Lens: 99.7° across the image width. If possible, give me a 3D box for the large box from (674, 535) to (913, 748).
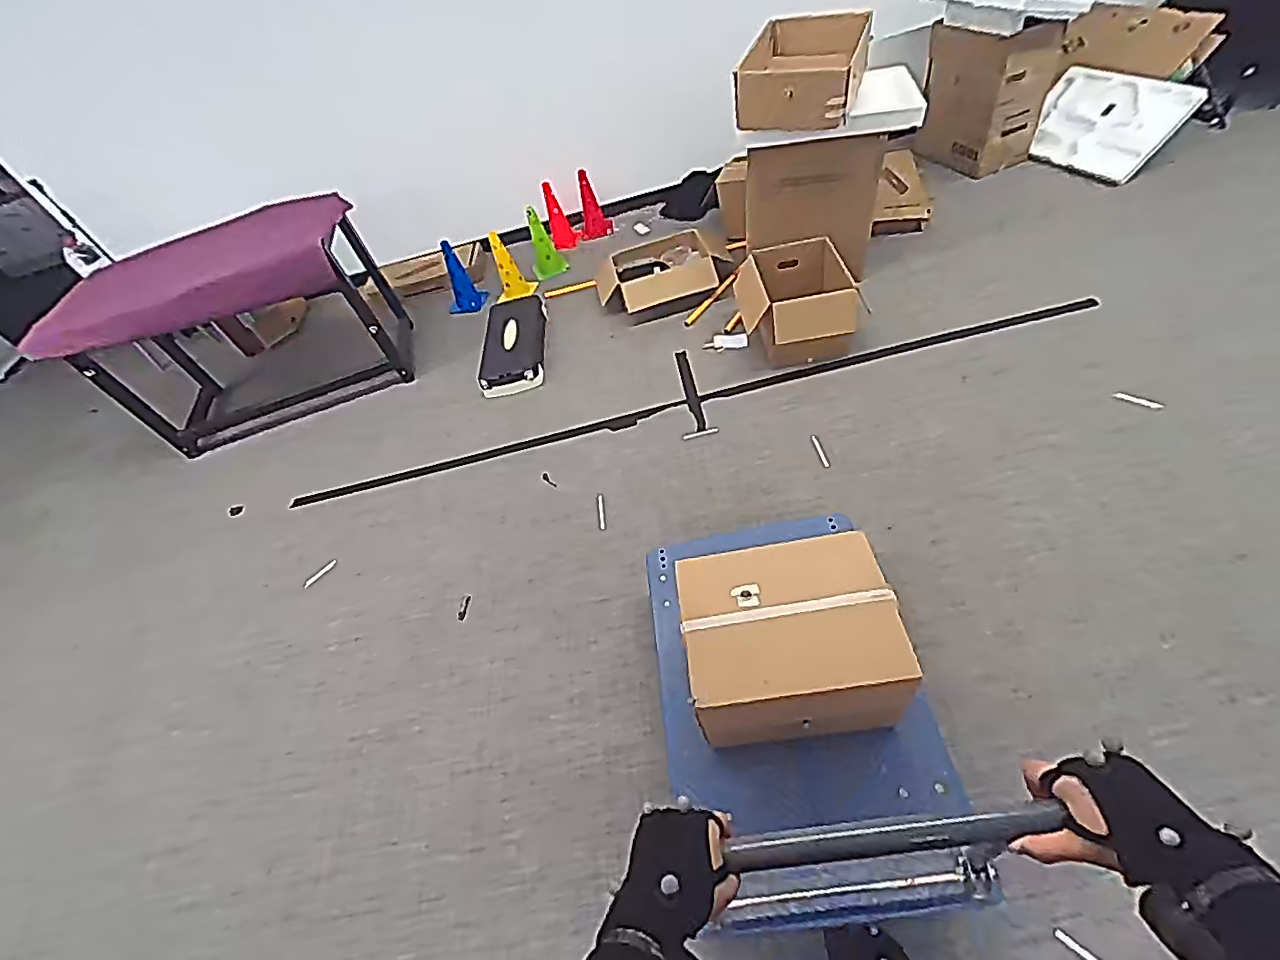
[{"bbox_3d":[0.314,0.364,1.187,0.408,0.320,0.320,-12,49,7],"label":"large box"}]
